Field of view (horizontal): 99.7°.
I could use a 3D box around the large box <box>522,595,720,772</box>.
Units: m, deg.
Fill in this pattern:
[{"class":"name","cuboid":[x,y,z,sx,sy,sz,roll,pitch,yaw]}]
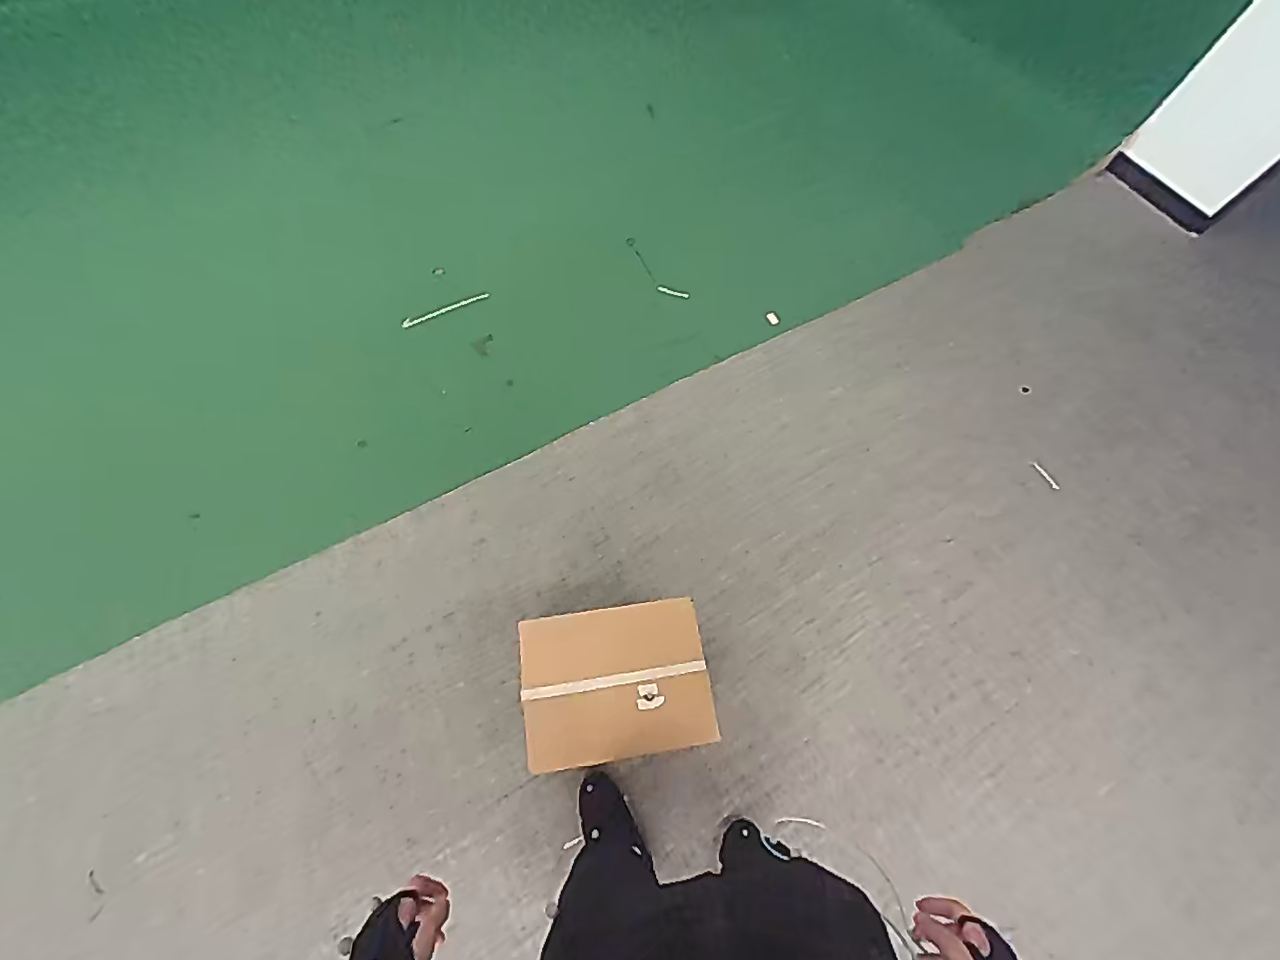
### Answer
[{"class":"large box","cuboid":[-0.057,0.495,1.318,0.408,0.320,0.320,-7,67,-7]}]
